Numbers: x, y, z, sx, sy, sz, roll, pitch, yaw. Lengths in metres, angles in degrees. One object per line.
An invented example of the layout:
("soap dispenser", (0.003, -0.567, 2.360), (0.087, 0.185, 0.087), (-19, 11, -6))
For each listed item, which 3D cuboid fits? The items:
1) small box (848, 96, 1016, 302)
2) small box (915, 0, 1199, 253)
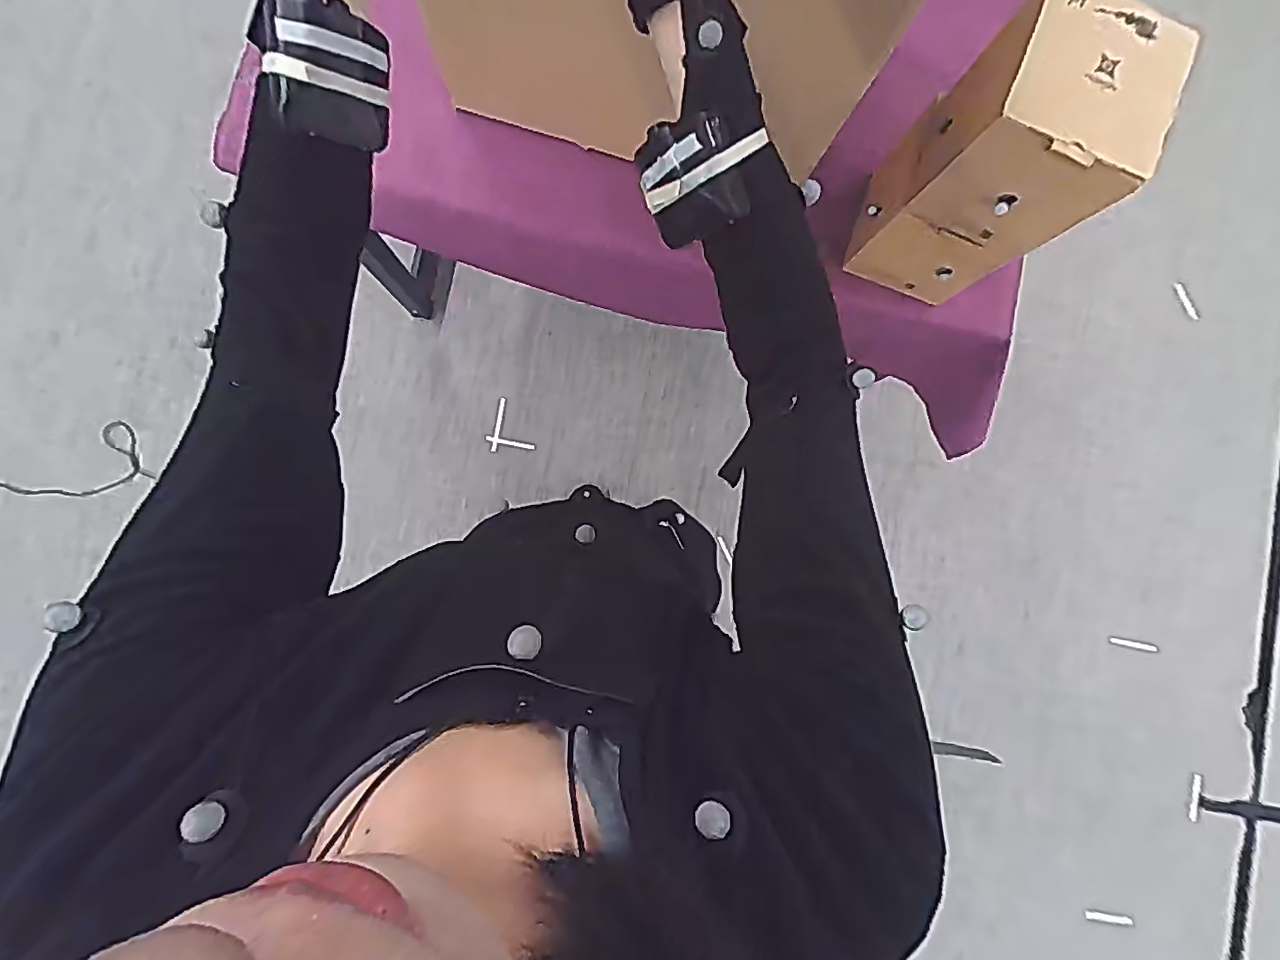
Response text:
("small box", (0.426, -0.385, 0.776), (0.168, 0.176, 0.179), (20, 84, -4))
("small box", (0.449, -0.394, 0.613), (0.168, 0.176, 0.179), (23, 85, -4))
